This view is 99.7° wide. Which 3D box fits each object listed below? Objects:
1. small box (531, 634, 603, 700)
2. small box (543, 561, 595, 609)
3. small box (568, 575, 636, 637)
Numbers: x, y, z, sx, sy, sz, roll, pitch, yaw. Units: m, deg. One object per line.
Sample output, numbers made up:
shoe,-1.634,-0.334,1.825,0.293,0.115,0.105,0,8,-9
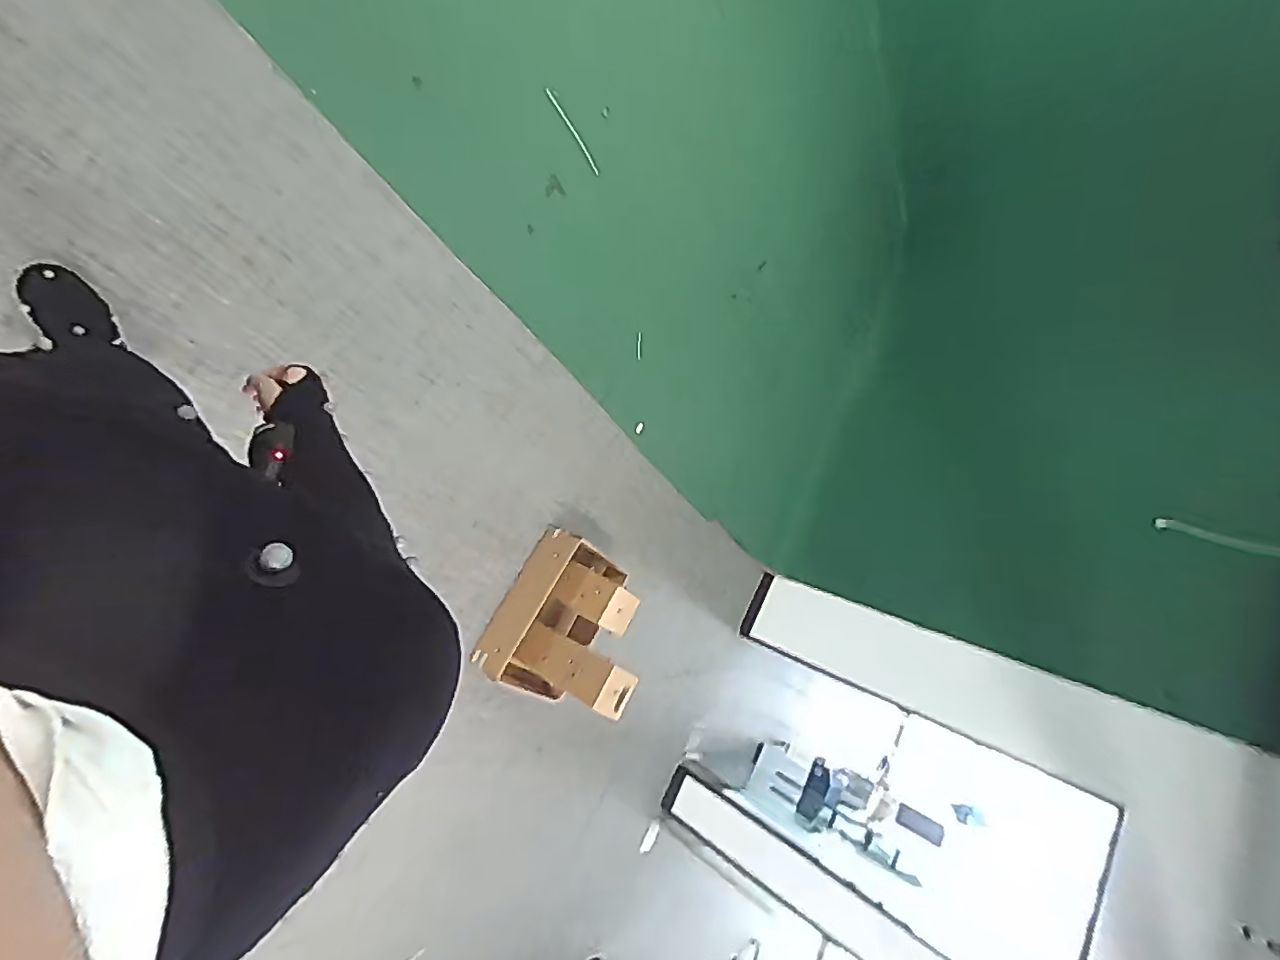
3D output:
small box,-0.280,0.711,2.062,0.179,0.176,0.168,46,65,-47
small box,-0.268,0.451,2.238,0.168,0.176,0.179,-60,138,-15
small box,-0.152,0.491,2.134,0.179,0.176,0.168,45,69,-47
